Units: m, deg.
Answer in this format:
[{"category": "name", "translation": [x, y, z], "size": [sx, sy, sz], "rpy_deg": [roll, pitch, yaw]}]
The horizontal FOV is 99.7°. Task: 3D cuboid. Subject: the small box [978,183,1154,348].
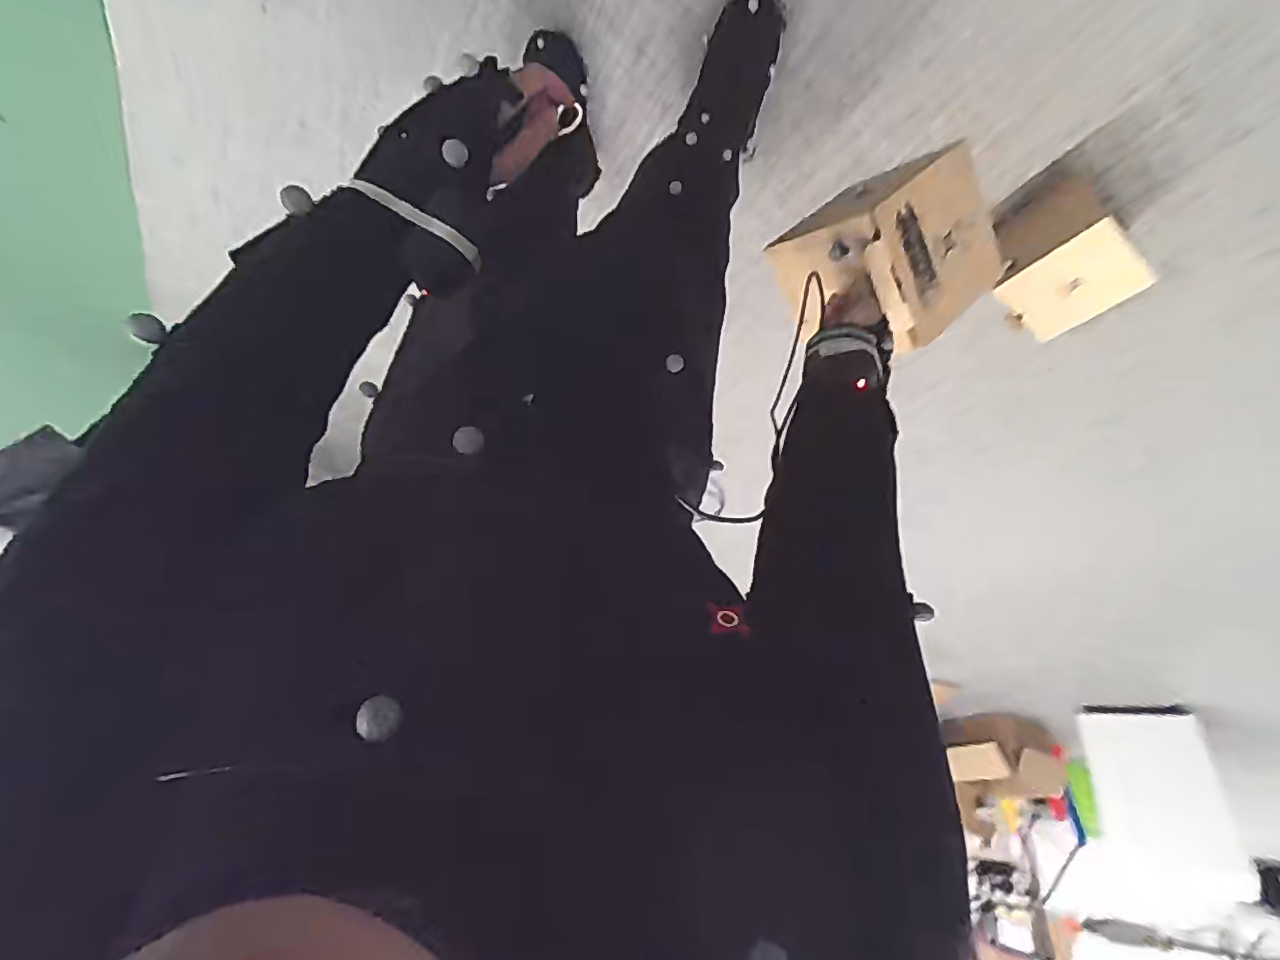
[{"category": "small box", "translation": [0.737, -0.378, 0.955], "size": [0.168, 0.176, 0.179], "rpy_deg": [31, 141, -20]}]
